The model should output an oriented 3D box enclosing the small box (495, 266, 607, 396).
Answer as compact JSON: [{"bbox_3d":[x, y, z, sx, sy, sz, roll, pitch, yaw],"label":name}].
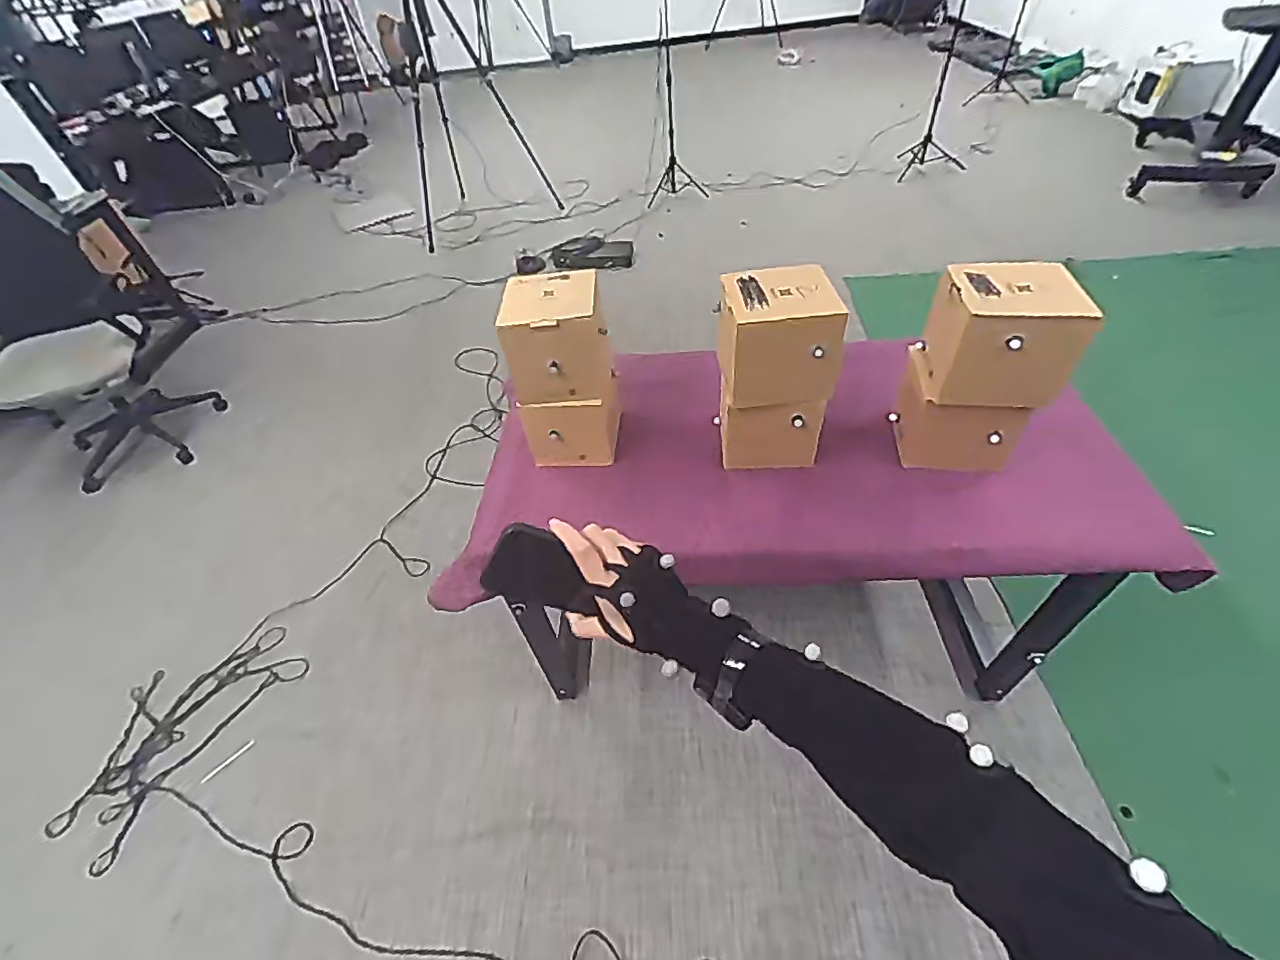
[{"bbox_3d":[-0.154,-0.269,1.002,0.168,0.176,0.179,-3,48,3],"label":"small box"}]

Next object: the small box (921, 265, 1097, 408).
[{"bbox_3d":[0.578,-0.233,0.881,0.179,0.176,0.168,4,48,10],"label":"small box"}]

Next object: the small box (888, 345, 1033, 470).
[{"bbox_3d":[0.585,-0.134,1.012,0.179,0.176,0.168,4,48,11],"label":"small box"}]

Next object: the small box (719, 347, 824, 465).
[{"bbox_3d":[0.247,-0.141,1.058,0.179,0.176,0.168,-1,47,7],"label":"small box"}]

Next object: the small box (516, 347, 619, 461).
[{"bbox_3d":[-0.139,-0.152,1.116,0.168,0.176,0.179,0,47,7],"label":"small box"}]
